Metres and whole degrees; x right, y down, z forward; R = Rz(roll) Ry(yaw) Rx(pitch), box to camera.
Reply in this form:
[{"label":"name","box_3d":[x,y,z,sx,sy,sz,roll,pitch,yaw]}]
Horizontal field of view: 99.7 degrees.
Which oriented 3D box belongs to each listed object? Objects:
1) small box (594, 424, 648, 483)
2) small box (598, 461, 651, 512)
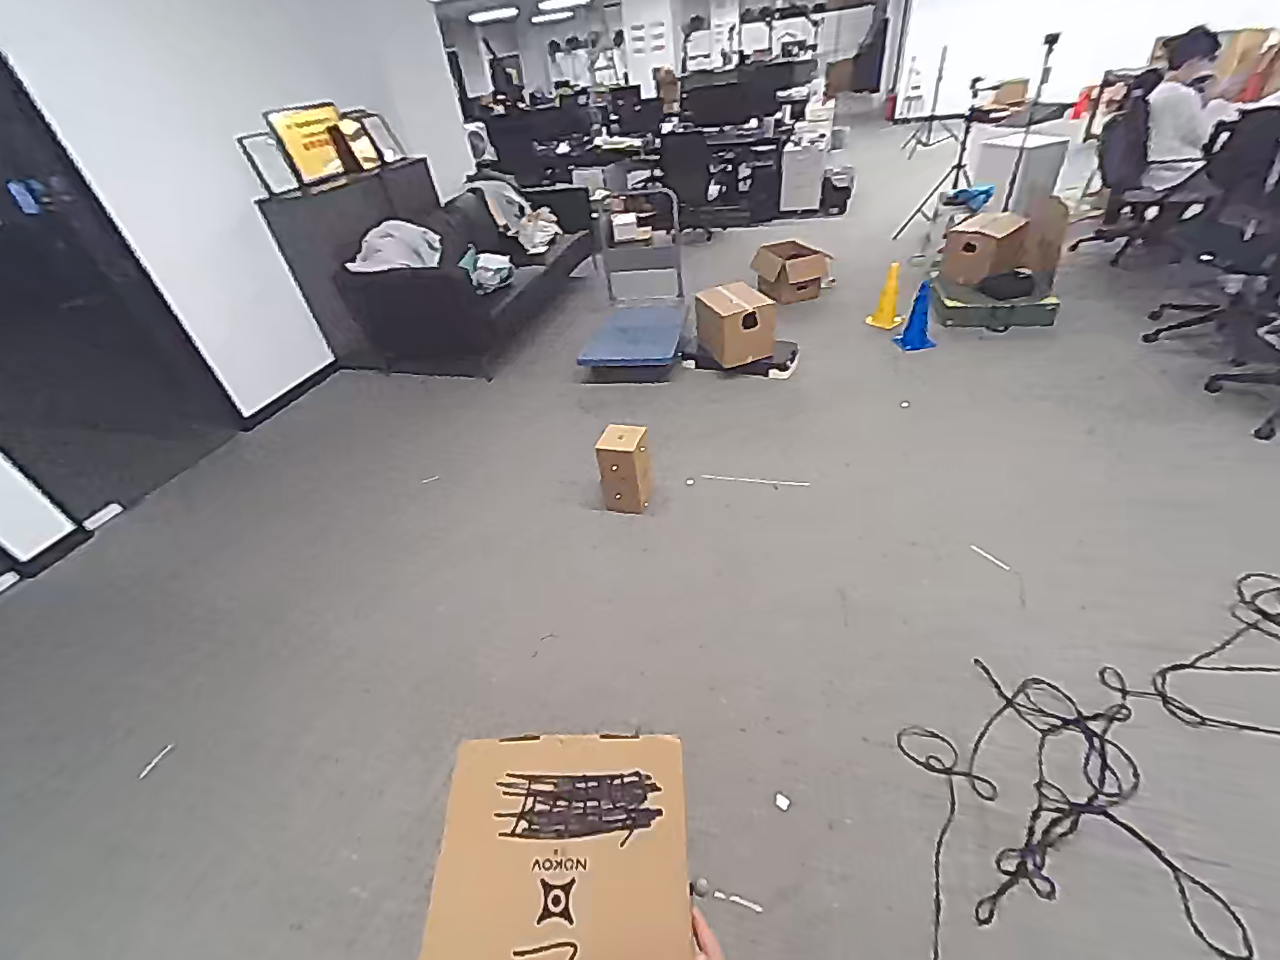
[{"label":"small box","box_3d":[-0.071,-0.108,2.218,0.168,0.176,0.179,7,40,18]},{"label":"small box","box_3d":[-0.059,0.021,2.319,0.179,0.176,0.168,6,40,18]}]
